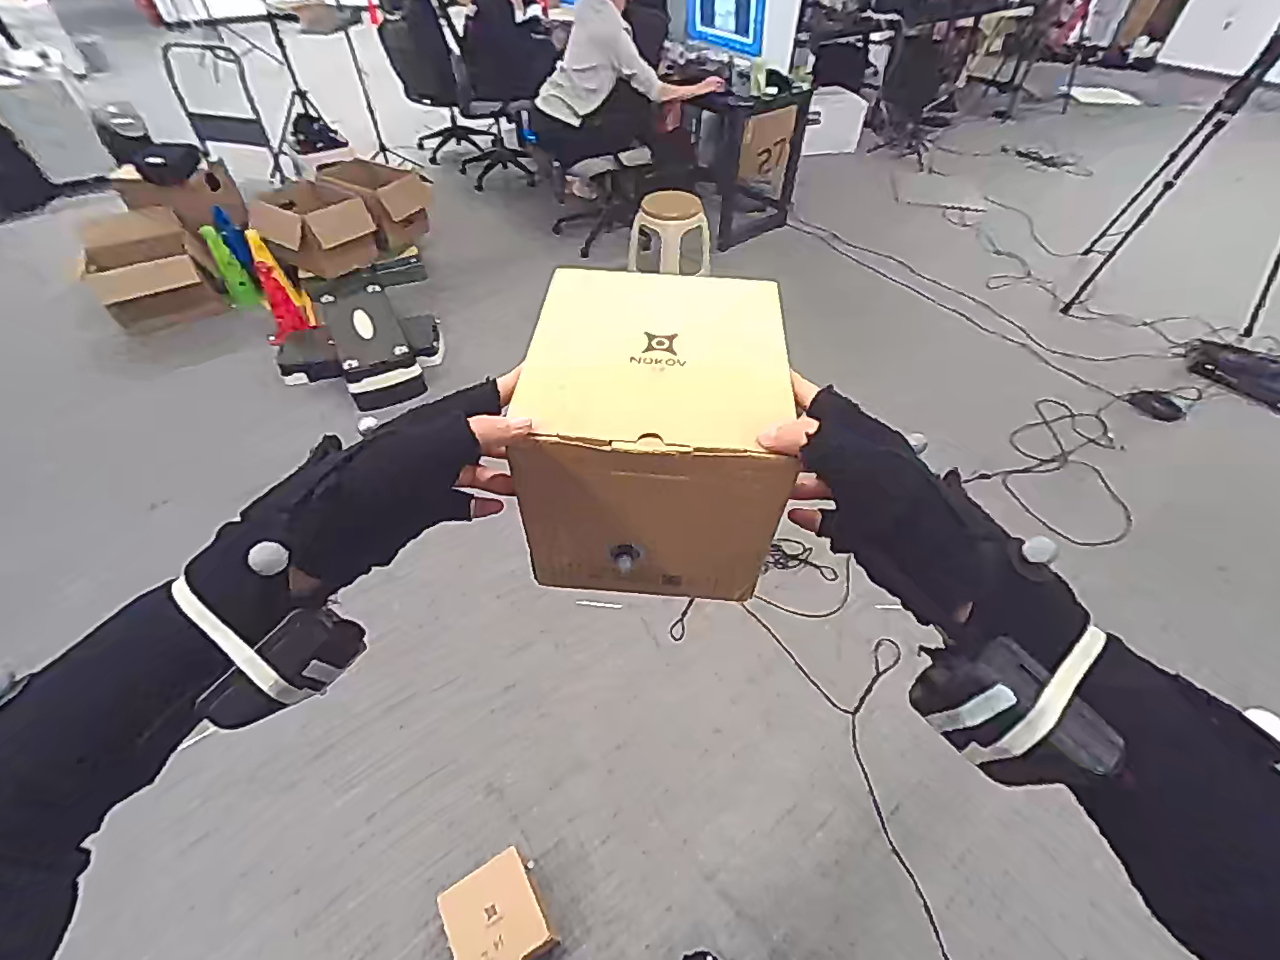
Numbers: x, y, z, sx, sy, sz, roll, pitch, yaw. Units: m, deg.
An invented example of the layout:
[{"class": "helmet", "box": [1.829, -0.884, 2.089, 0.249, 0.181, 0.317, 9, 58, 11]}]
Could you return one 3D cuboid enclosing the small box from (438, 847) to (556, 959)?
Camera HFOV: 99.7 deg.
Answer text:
[{"class": "small box", "box": [-0.283, 0.889, 1.088, 0.168, 0.176, 0.179, -25, 52, -20]}]
